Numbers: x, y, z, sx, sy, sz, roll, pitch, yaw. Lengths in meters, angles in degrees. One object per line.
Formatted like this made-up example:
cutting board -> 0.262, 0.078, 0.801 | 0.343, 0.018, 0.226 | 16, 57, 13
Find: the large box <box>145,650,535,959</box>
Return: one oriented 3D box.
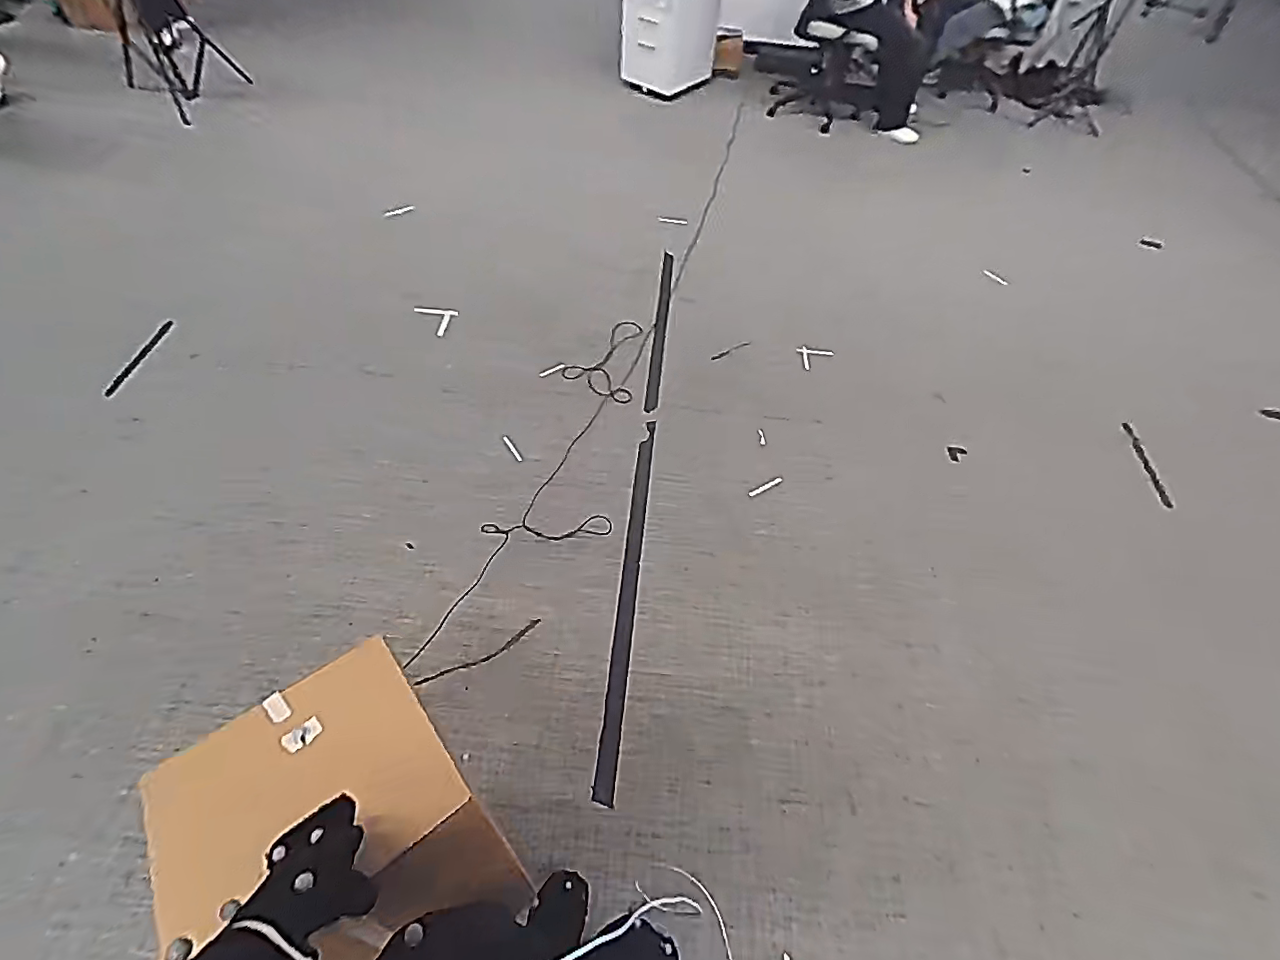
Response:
large box -> -0.403, 0.536, 0.790 | 0.320, 0.408, 0.320 | -31, 46, -27
